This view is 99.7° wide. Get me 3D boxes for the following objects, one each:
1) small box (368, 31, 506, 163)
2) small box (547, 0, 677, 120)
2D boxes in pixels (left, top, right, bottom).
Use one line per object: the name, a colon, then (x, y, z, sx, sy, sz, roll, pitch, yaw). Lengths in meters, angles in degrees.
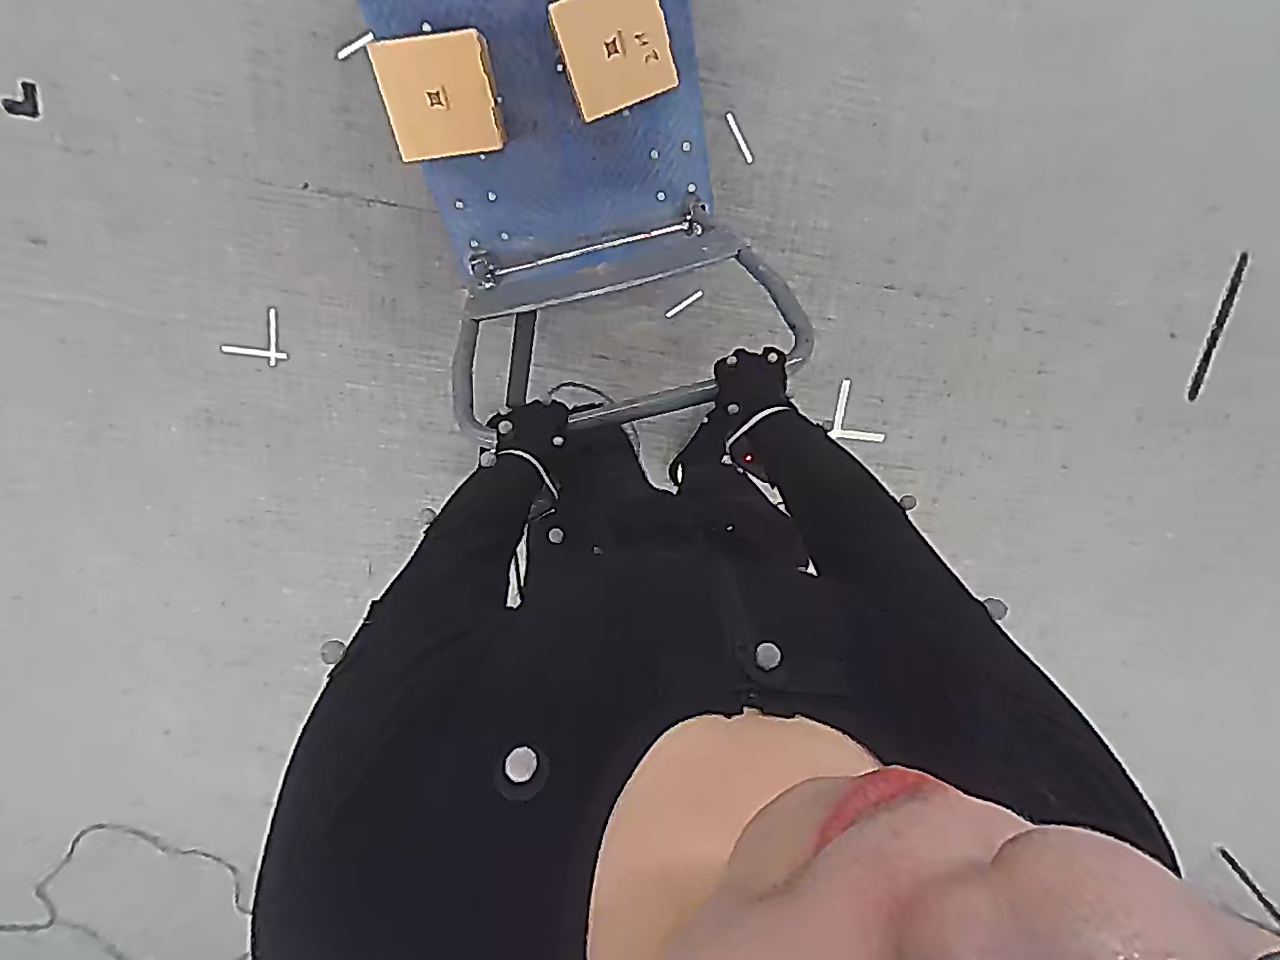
small box: (-0.347, -0.675, 0.963, 0.179, 0.176, 0.168, -12, 126, -4)
small box: (-0.051, -0.758, 0.955, 0.179, 0.176, 0.168, -20, 126, 4)
